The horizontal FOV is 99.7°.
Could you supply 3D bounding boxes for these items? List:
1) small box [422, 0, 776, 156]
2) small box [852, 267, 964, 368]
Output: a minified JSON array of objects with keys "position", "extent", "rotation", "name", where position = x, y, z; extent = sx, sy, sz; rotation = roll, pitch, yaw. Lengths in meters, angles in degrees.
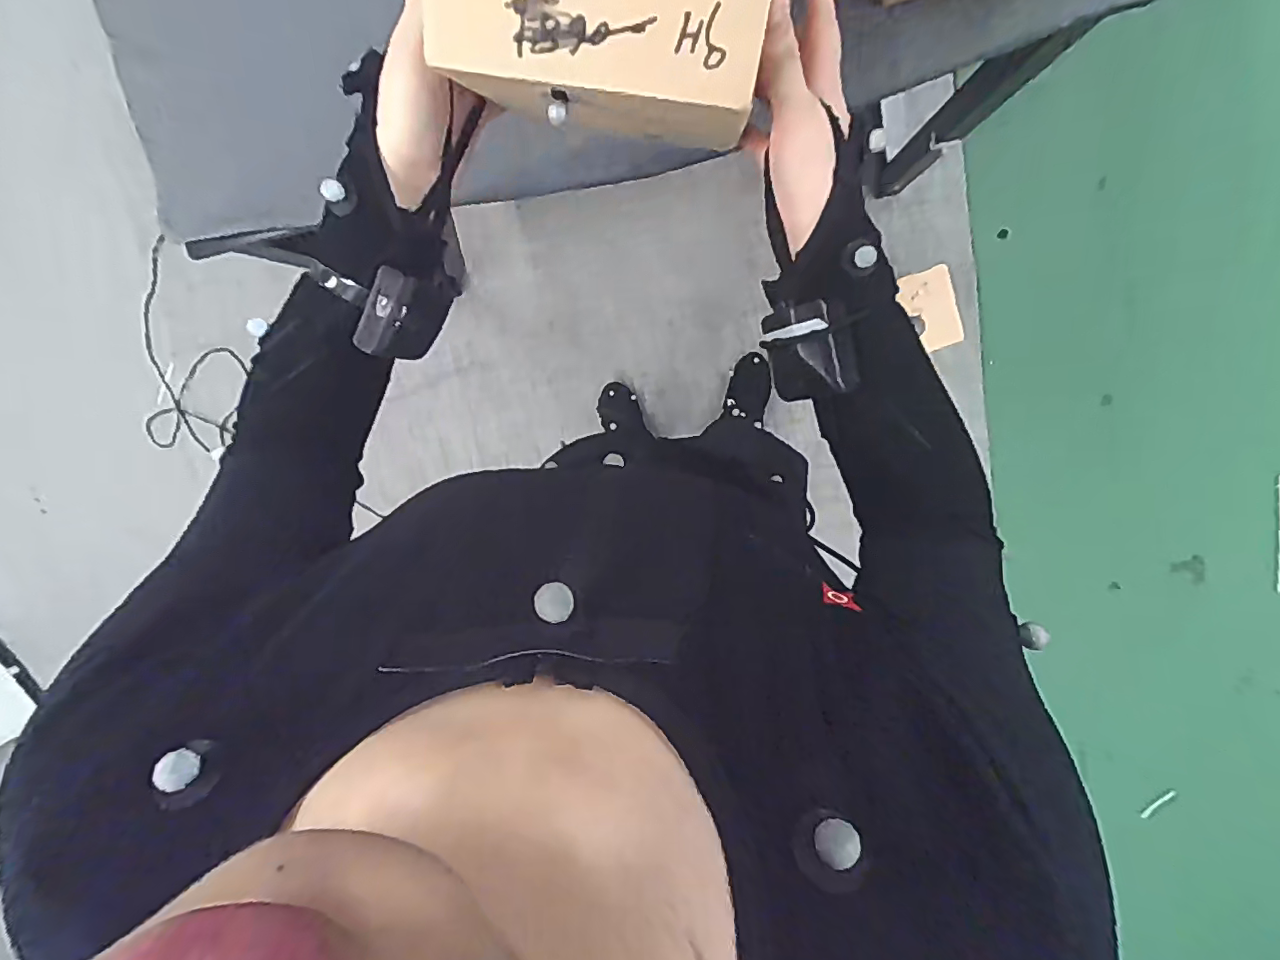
[{"position":[-0.004,-0.299,0.298],"extent":[0.168,0.176,0.179],"rotation":[11,116,3],"name":"small box"},{"position":[0.616,-0.372,1.259],"extent":[0.168,0.176,0.179],"rotation":[-18,100,9],"name":"small box"}]
